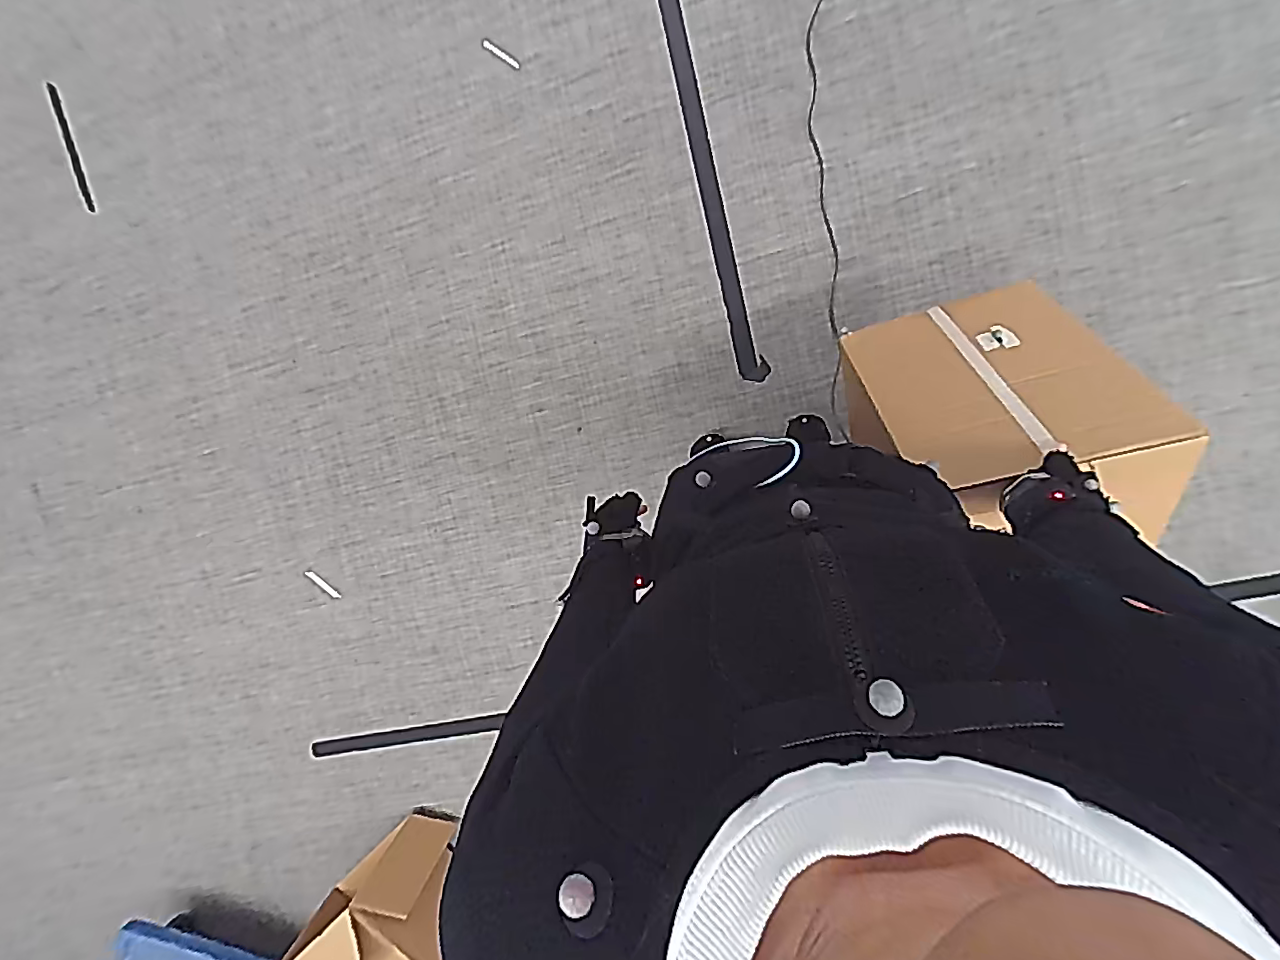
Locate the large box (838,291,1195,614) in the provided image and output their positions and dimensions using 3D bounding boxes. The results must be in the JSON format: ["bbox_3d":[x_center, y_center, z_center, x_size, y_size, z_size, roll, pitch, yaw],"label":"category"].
[{"bbox_3d":[0.558,-0.049,0.906,0.320,0.408,0.320,-14,132,11],"label":"large box"}]
